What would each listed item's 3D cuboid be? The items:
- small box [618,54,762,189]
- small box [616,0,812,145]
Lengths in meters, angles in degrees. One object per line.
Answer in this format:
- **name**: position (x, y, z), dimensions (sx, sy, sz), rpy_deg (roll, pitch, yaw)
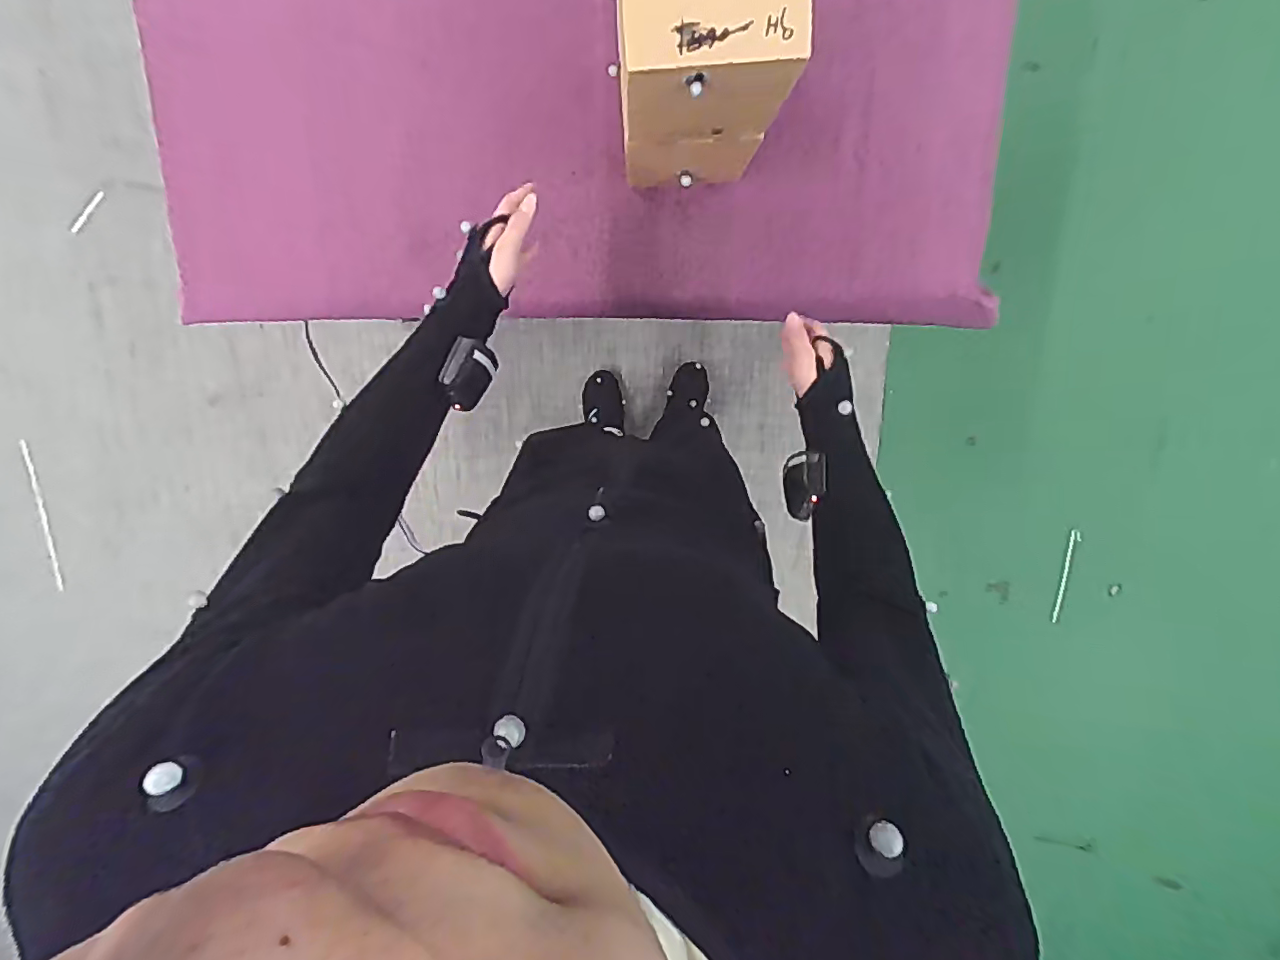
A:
- **small box**: position (0.057, -0.496, 0.692), dimensions (0.168, 0.176, 0.179), rpy_deg (-3, 103, 0)
- **small box**: position (0.061, -0.462, 0.531), dimensions (0.168, 0.176, 0.179), rpy_deg (-4, 102, 0)
